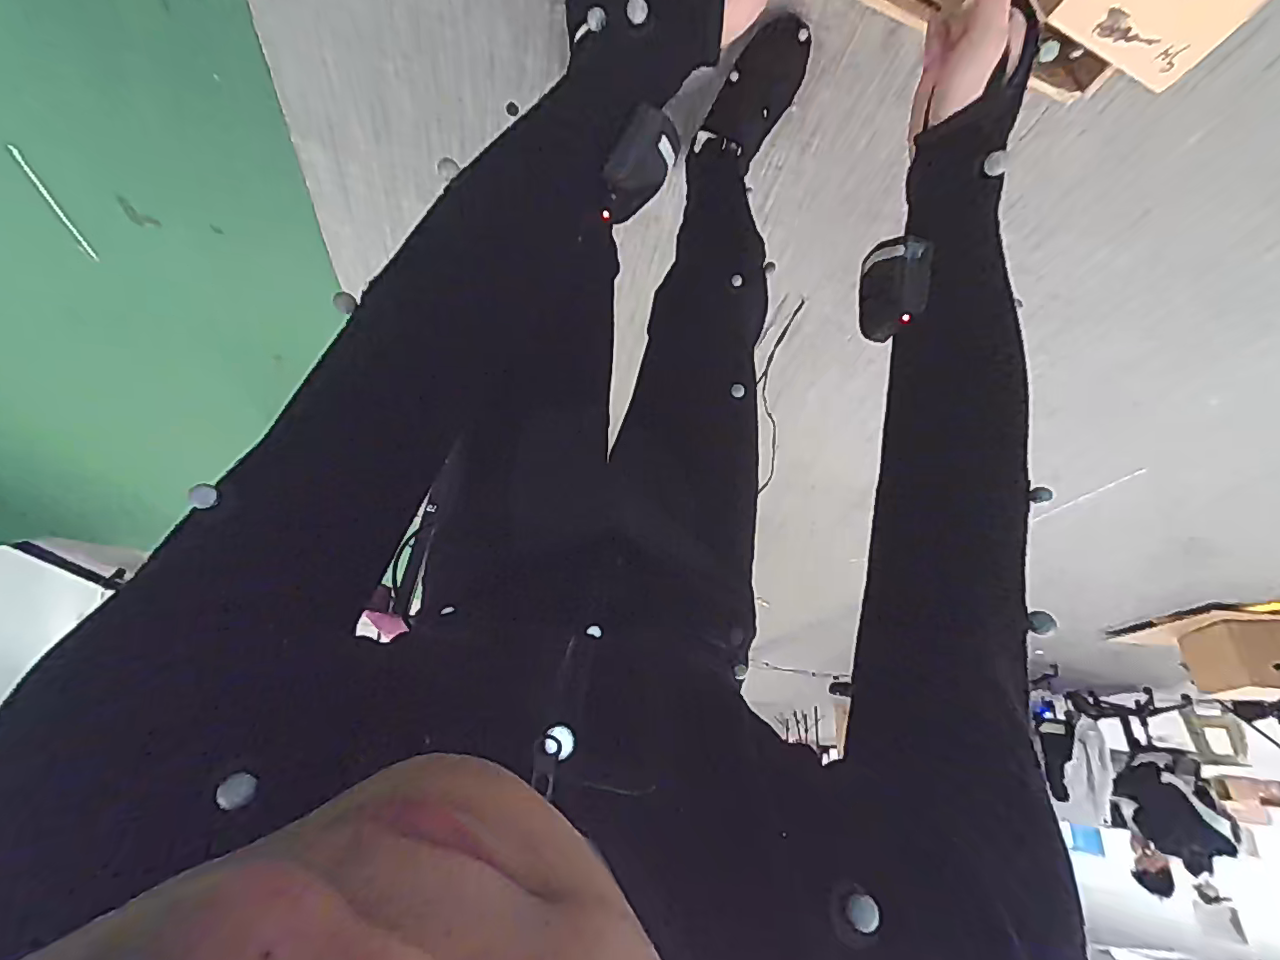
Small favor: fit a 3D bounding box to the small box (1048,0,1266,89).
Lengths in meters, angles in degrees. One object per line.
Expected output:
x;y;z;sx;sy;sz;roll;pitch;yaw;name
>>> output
0.504;-0.530;0.506;0.168;0.176;0.179;16;149;-15;small box
